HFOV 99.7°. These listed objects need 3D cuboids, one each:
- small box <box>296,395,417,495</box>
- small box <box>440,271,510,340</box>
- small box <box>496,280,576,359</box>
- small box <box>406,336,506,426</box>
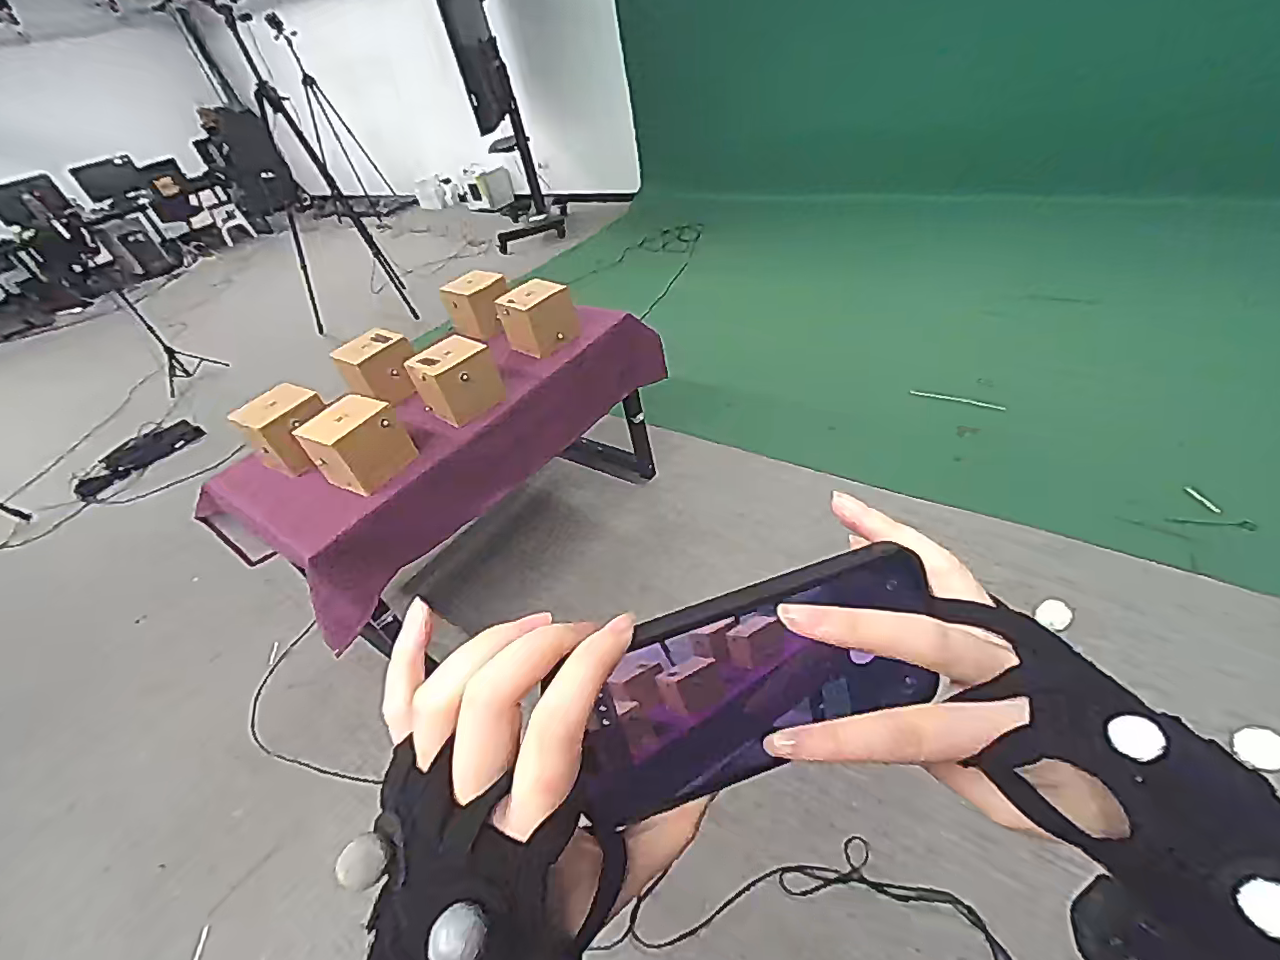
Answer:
[{"bbox_3d":[-0.700,-0.087,1.354,0.168,0.176,0.179,14,47,29],"label":"small box"},{"bbox_3d":[-0.563,-0.614,1.904,0.179,0.176,0.168,23,53,34],"label":"small box"},{"bbox_3d":[-0.322,-0.514,1.730,0.168,0.176,0.179,26,54,37],"label":"small box"},{"bbox_3d":[-0.508,-0.277,1.514,0.168,0.176,0.179,25,53,36],"label":"small box"}]
